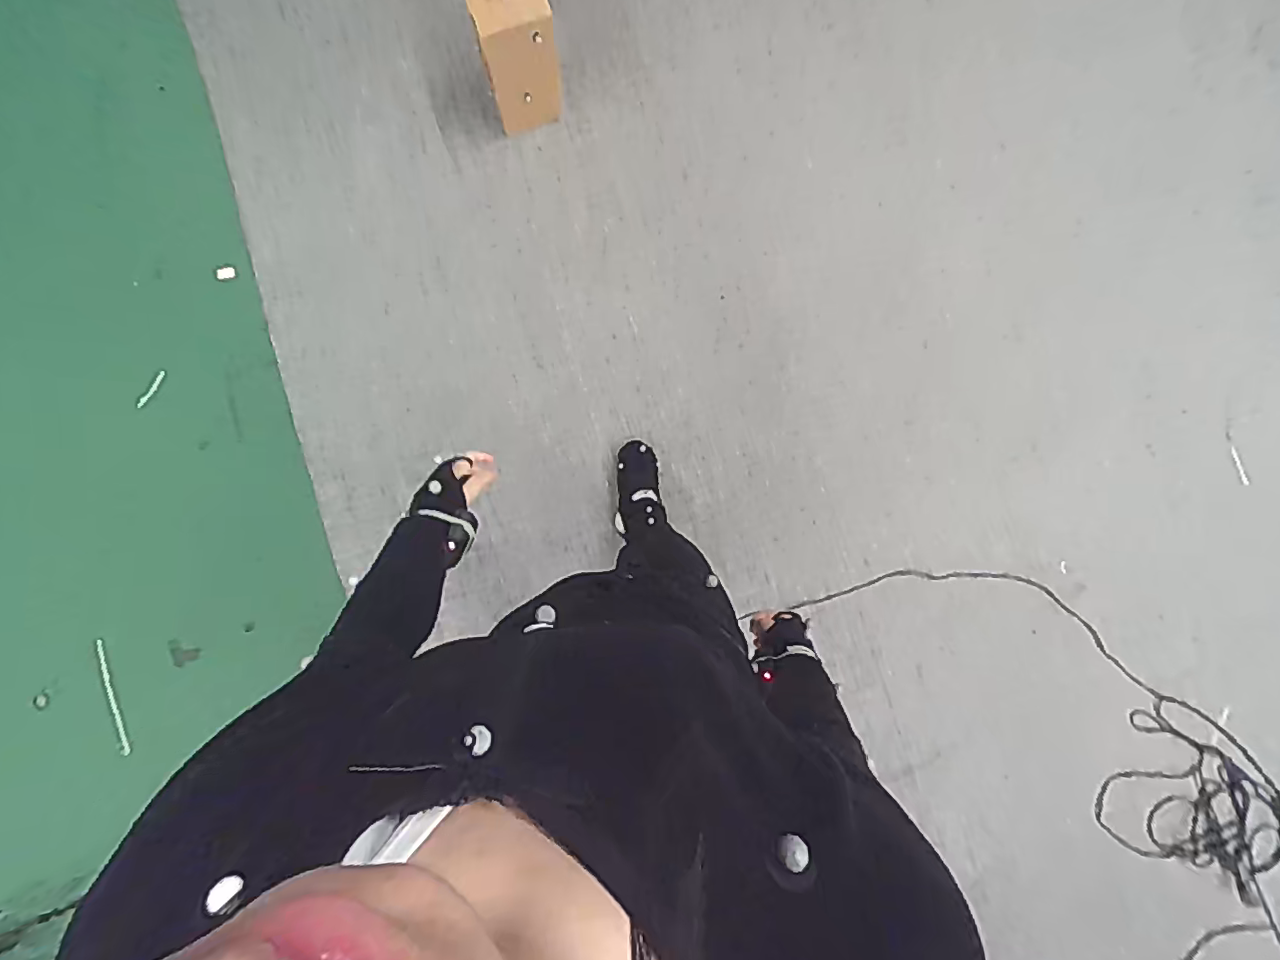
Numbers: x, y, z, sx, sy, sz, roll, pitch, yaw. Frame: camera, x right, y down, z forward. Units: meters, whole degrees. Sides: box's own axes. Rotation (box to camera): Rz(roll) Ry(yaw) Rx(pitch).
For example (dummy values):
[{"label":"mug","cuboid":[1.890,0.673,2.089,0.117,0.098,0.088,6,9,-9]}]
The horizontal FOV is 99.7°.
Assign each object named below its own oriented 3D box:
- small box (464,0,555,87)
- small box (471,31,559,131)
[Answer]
[{"label":"small box","cuboid":[-0.310,-1.089,1.284,0.179,0.176,0.168,-20,89,-2]},{"label":"small box","cuboid":[-0.323,-1.085,1.448,0.179,0.176,0.168,-21,90,-2]}]
